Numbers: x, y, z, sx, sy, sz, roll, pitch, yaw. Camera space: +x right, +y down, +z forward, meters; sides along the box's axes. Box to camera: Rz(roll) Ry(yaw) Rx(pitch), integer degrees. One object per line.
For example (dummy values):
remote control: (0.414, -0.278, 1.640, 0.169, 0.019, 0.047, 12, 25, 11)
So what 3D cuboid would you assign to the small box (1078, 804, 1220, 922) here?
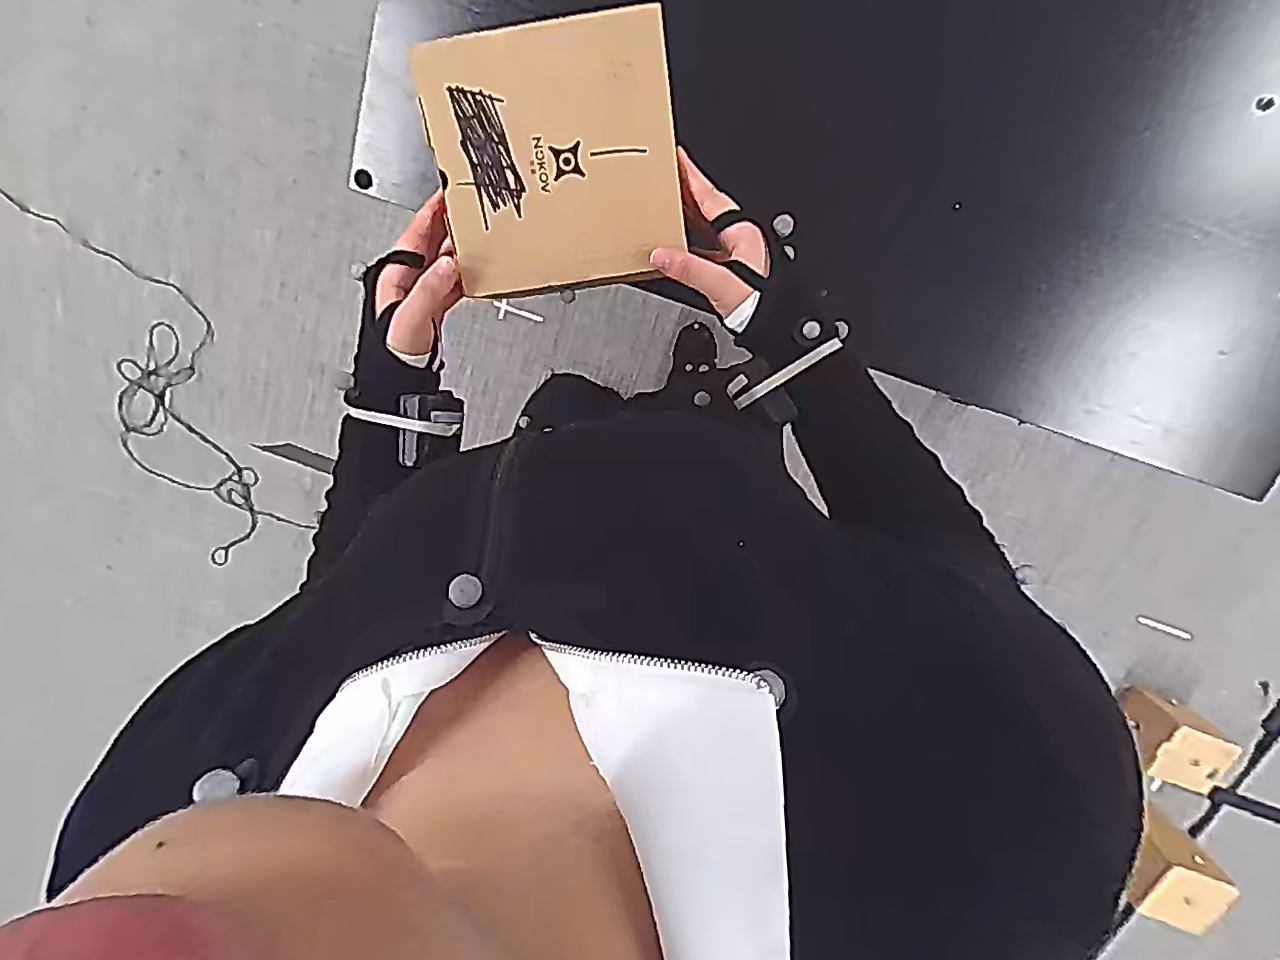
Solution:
small box: (1.337, 1.008, 1.436, 0.179, 0.176, 0.168, 21, 106, 0)

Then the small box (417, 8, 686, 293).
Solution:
small box: (-0.060, -0.257, 0.467, 0.179, 0.176, 0.168, -7, 109, 1)

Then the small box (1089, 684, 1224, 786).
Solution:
small box: (1.427, 0.702, 1.510, 0.179, 0.176, 0.168, 22, 106, -1)
